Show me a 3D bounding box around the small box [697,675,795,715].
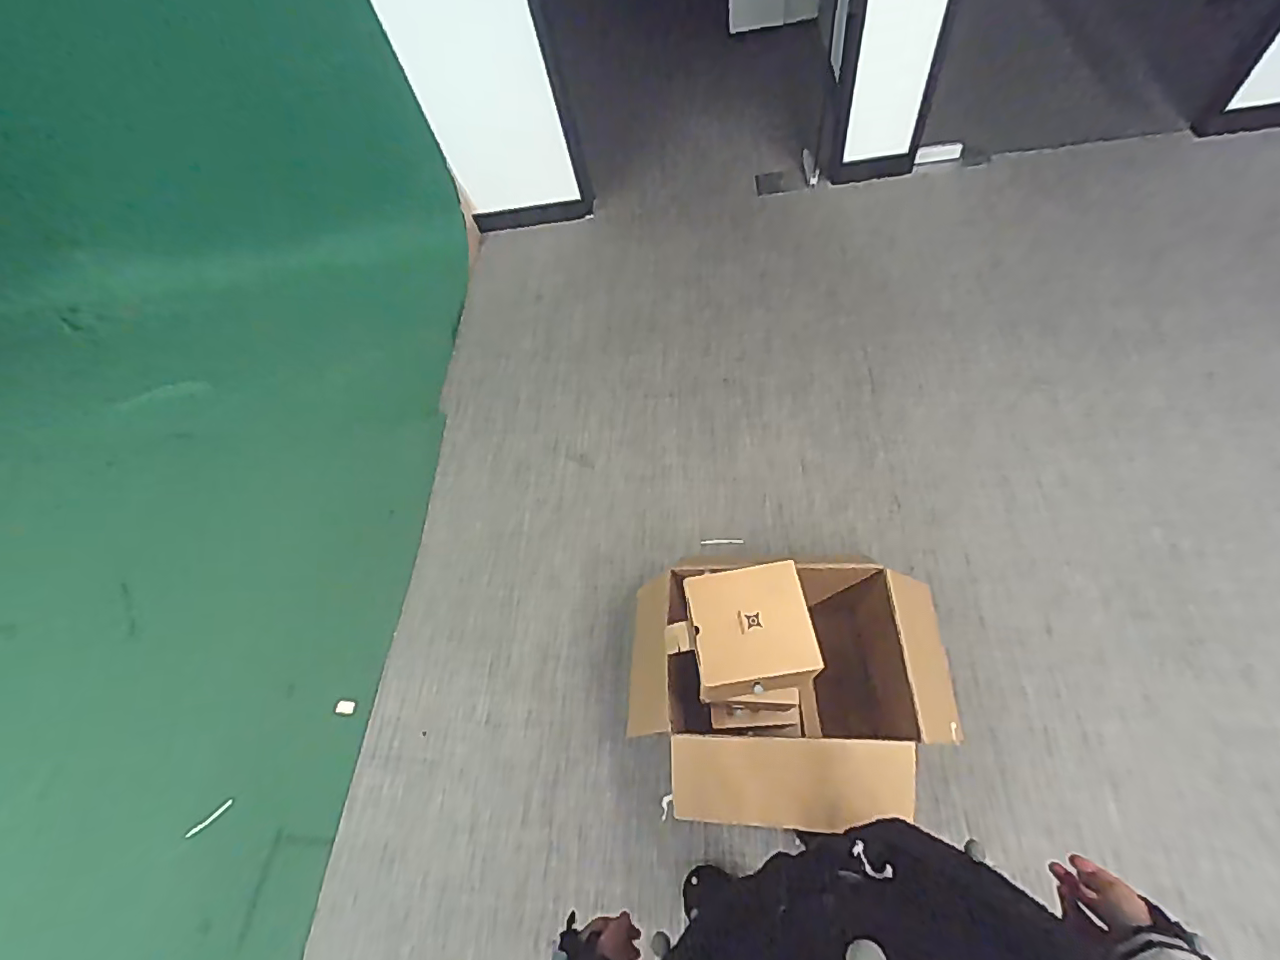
[{"bbox_3d":[0.192,0.333,1.010,0.168,0.176,0.179,1,63,8],"label":"small box"}]

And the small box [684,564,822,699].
[{"bbox_3d":[0.171,0.250,0.872,0.179,0.176,0.168,-10,61,3],"label":"small box"}]
